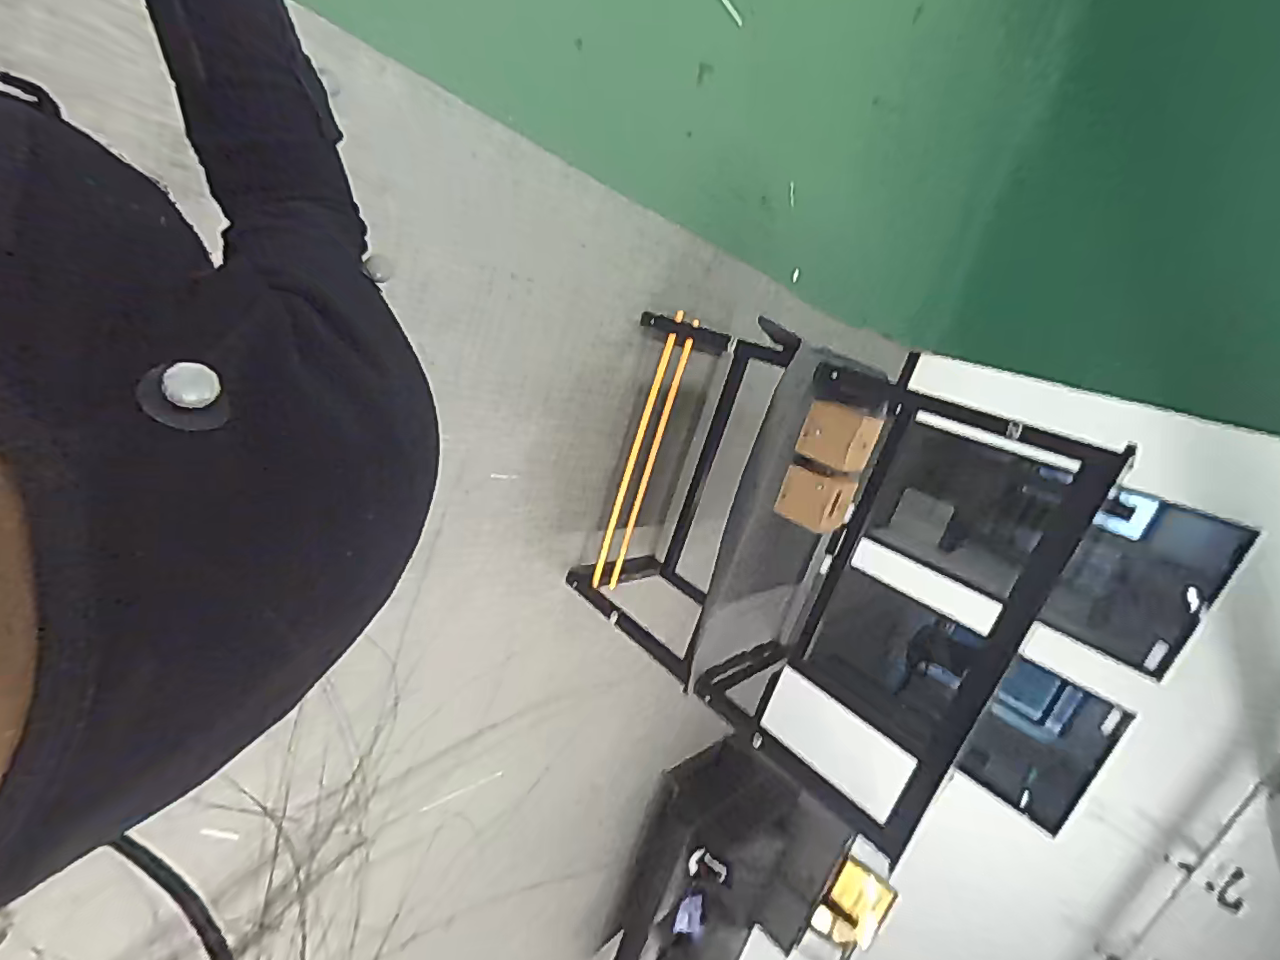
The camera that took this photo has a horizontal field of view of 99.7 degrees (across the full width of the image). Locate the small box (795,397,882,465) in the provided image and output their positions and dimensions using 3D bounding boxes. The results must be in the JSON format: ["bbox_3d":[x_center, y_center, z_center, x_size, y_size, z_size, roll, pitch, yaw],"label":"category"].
[{"bbox_3d":[0.614,-0.153,1.678,0.179,0.176,0.168,-3,116,-47],"label":"small box"}]
